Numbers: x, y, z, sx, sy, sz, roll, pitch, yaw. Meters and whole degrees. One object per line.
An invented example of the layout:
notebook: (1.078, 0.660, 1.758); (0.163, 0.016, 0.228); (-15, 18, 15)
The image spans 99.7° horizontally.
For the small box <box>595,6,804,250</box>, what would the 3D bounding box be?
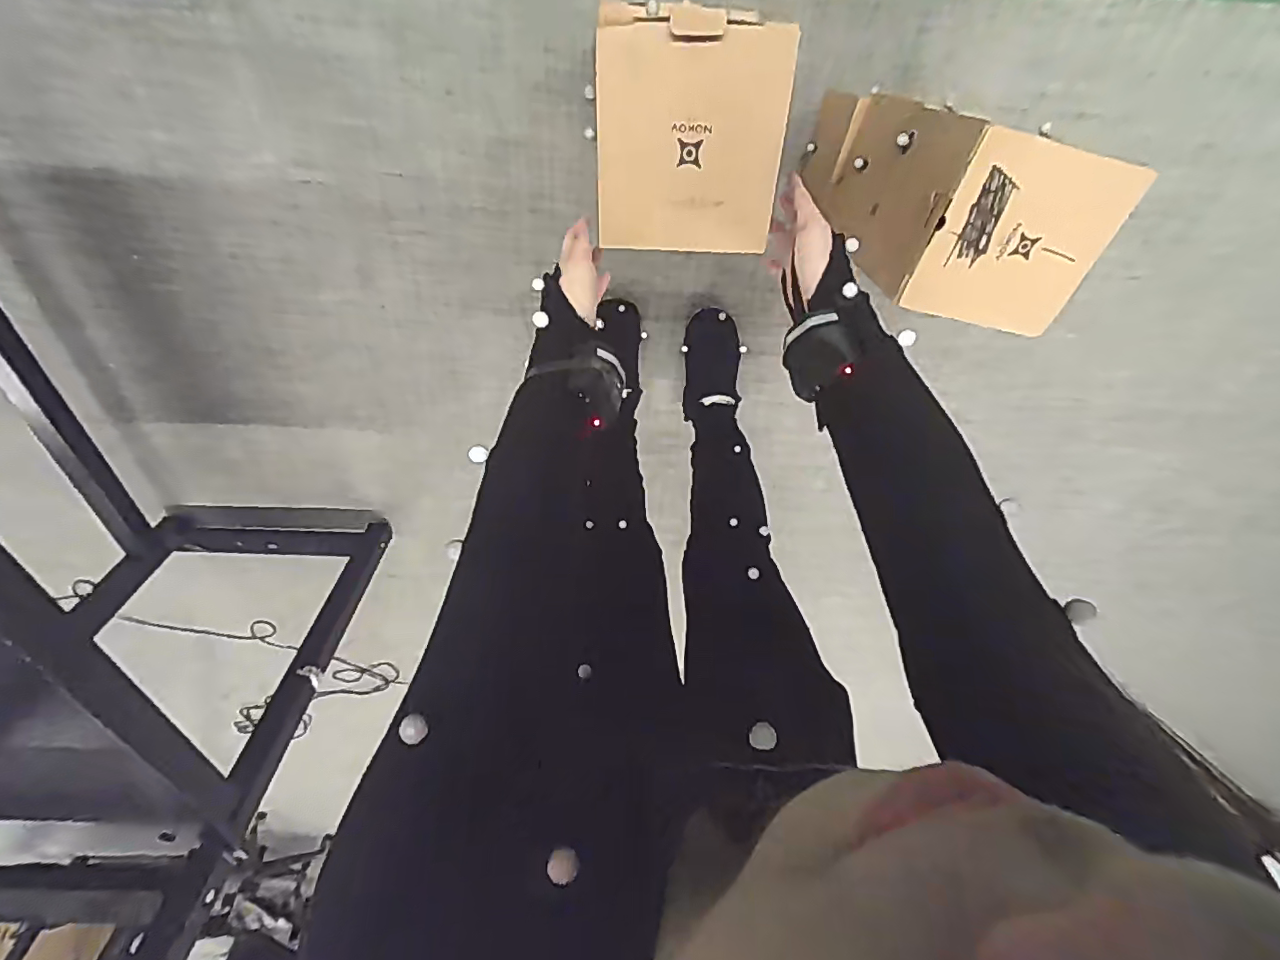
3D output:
small box: (0.045, -0.339, 0.528); (0.168, 0.176, 0.179); (1, 128, 1)

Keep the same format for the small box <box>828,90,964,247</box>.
small box: (0.371, -0.383, 0.699); (0.179, 0.176, 0.168); (11, 129, -9)

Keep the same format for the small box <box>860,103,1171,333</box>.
small box: (0.364, -0.280, 0.571); (0.179, 0.176, 0.168); (9, 129, -8)
